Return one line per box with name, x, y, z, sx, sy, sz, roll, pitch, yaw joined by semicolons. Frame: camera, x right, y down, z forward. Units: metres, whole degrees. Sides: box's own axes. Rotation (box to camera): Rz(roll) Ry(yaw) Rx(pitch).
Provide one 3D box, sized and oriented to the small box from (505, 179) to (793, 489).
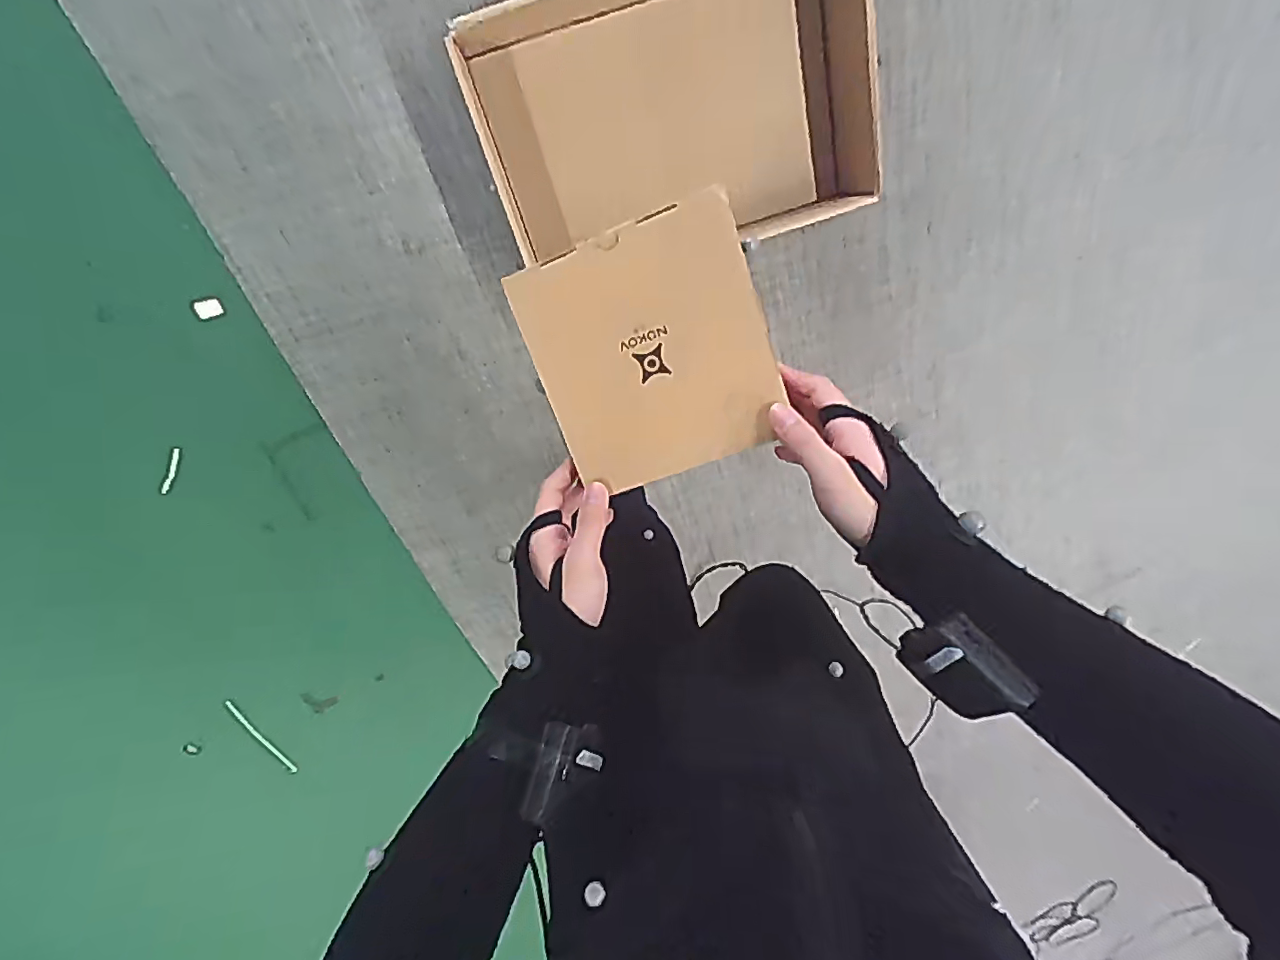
small box;0.018;-0.116;0.461;0.168;0.176;0.179;-19;101;12
